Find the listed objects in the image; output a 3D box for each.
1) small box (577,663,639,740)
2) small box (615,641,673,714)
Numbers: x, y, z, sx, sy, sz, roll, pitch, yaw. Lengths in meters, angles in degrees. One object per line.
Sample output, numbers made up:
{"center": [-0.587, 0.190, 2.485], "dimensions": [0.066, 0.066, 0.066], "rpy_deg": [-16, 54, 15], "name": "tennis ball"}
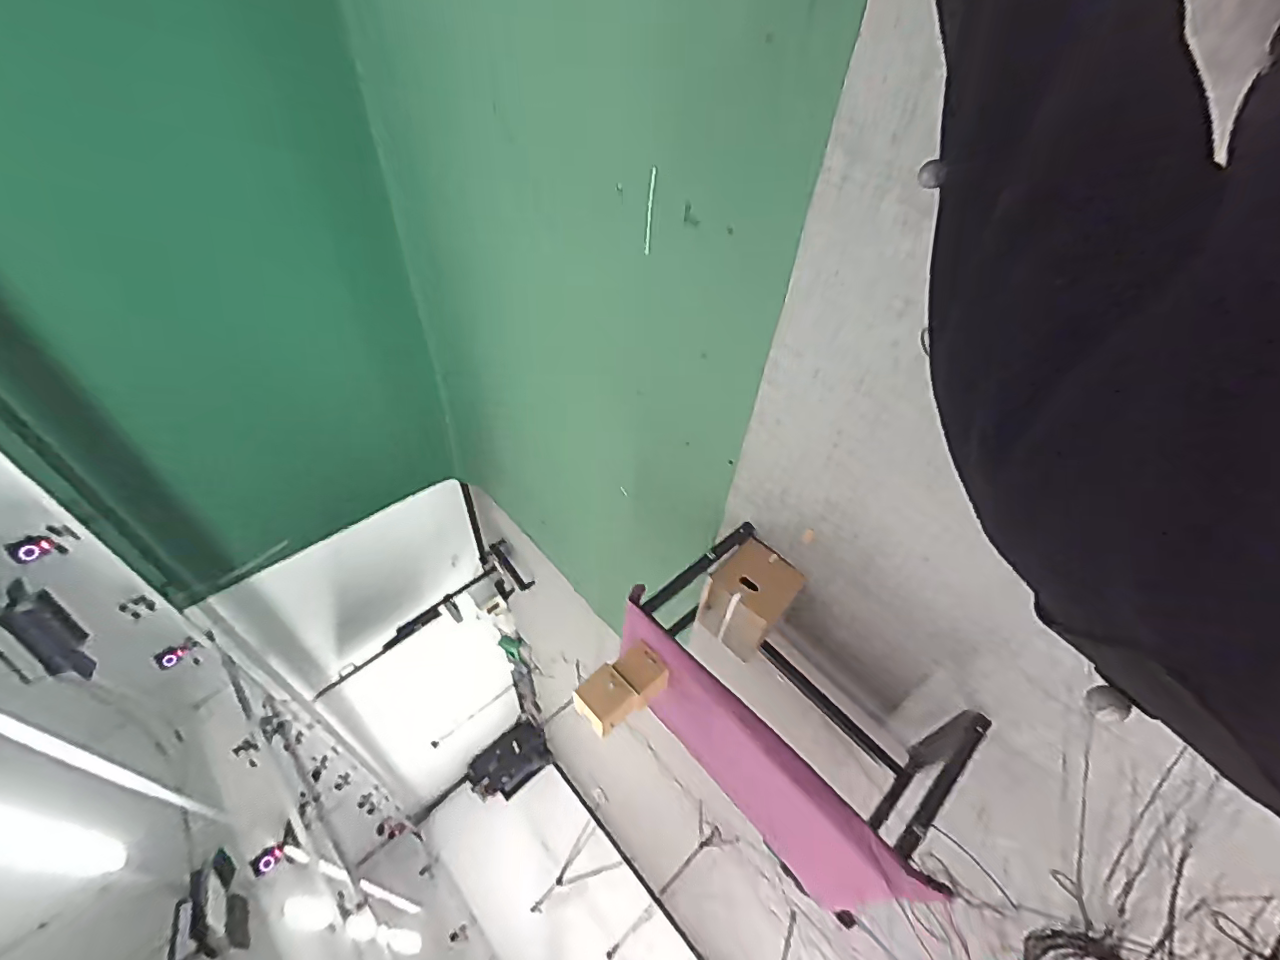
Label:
{"center": [-0.117, 0.831, 2.034], "dimensions": [0.168, 0.176, 0.179], "rpy_deg": [38, 145, 29], "name": "small box"}
{"center": [0.014, 0.771, 2.115], "dimensions": [0.168, 0.176, 0.179], "rpy_deg": [38, 146, 29], "name": "small box"}
